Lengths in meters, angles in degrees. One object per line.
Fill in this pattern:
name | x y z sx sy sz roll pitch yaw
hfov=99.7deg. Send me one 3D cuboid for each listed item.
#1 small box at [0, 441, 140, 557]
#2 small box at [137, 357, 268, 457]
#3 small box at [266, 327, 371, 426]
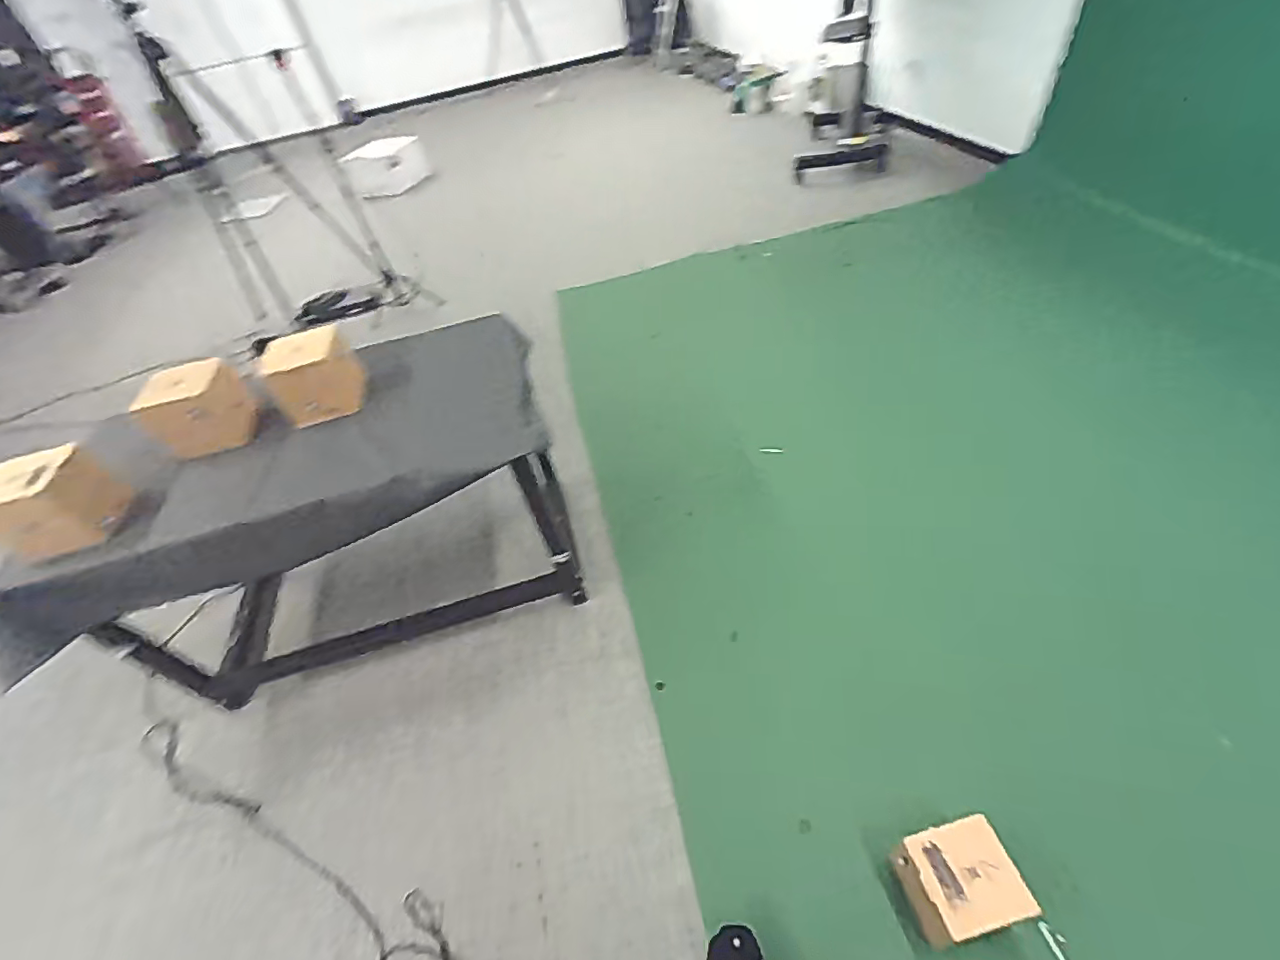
small box | -1.289 0.045 1.204 0.179 0.176 0.168 -16 45 -3
small box | -1.102 -0.183 1.384 0.179 0.176 0.168 -14 46 -2
small box | -0.828 -0.270 1.416 0.168 0.176 0.179 -16 46 -4
